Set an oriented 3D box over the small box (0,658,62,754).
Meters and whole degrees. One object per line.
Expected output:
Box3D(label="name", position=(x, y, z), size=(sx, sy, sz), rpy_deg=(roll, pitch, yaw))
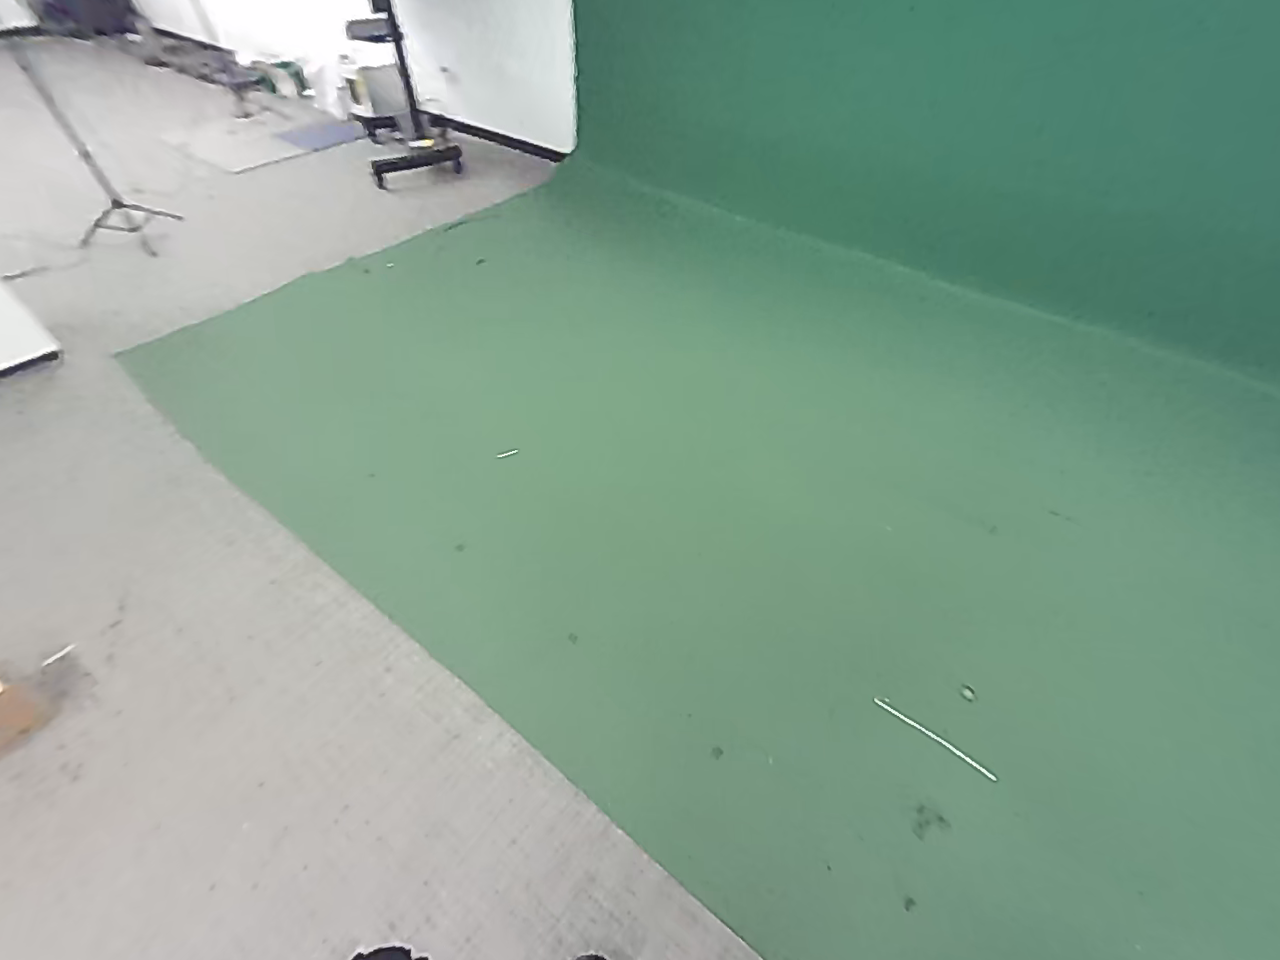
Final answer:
Box3D(label="small box", position=(-1.595, 0.554, 1.320), size=(0.179, 0.176, 0.168), rpy_deg=(27, 52, 20))
